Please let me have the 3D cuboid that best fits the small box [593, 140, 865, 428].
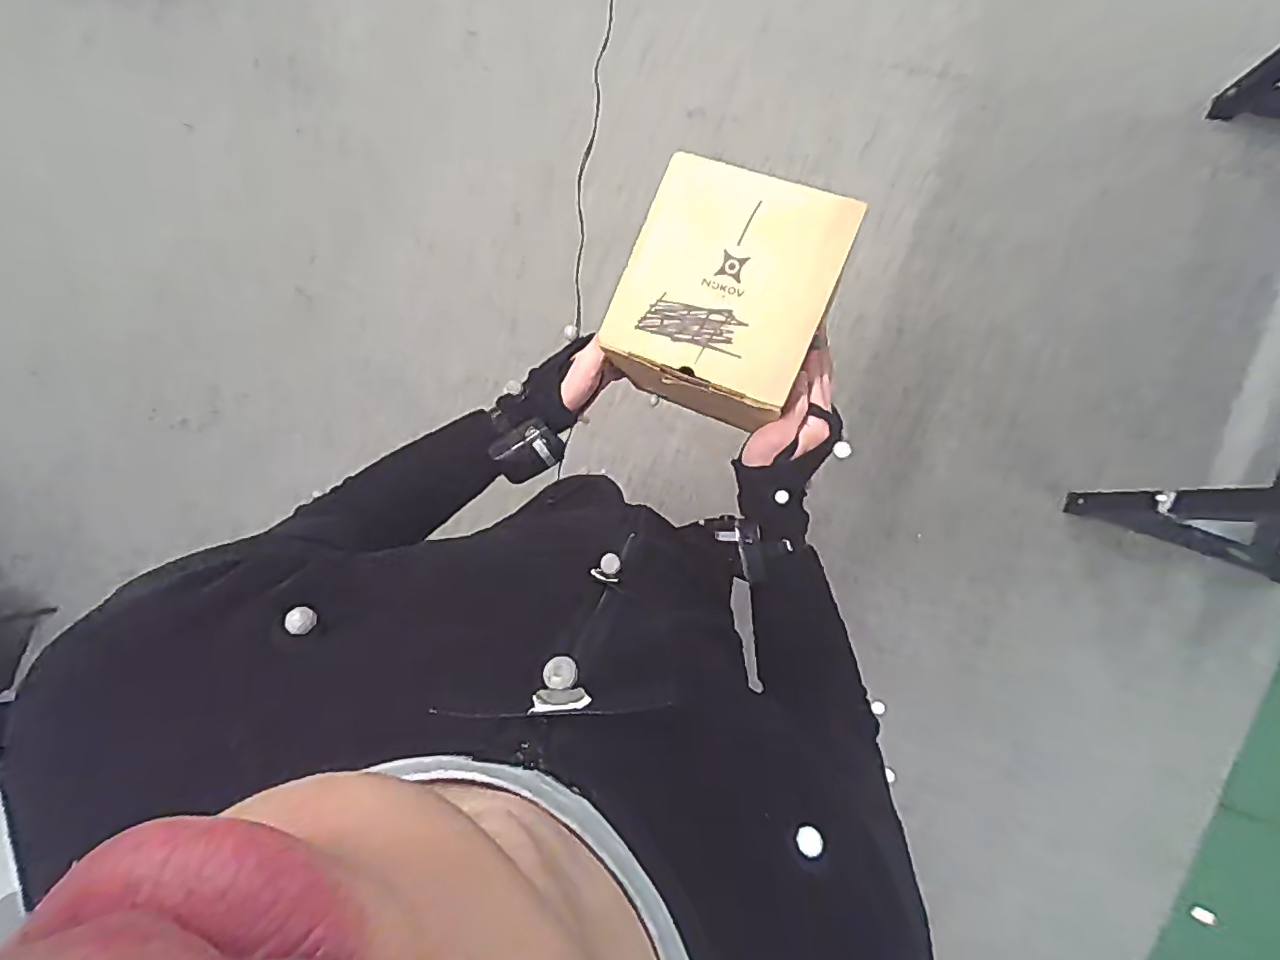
[{"bbox_3d":[0.082,-0.162,0.503,0.168,0.176,0.179,24,91,12],"label":"small box"}]
